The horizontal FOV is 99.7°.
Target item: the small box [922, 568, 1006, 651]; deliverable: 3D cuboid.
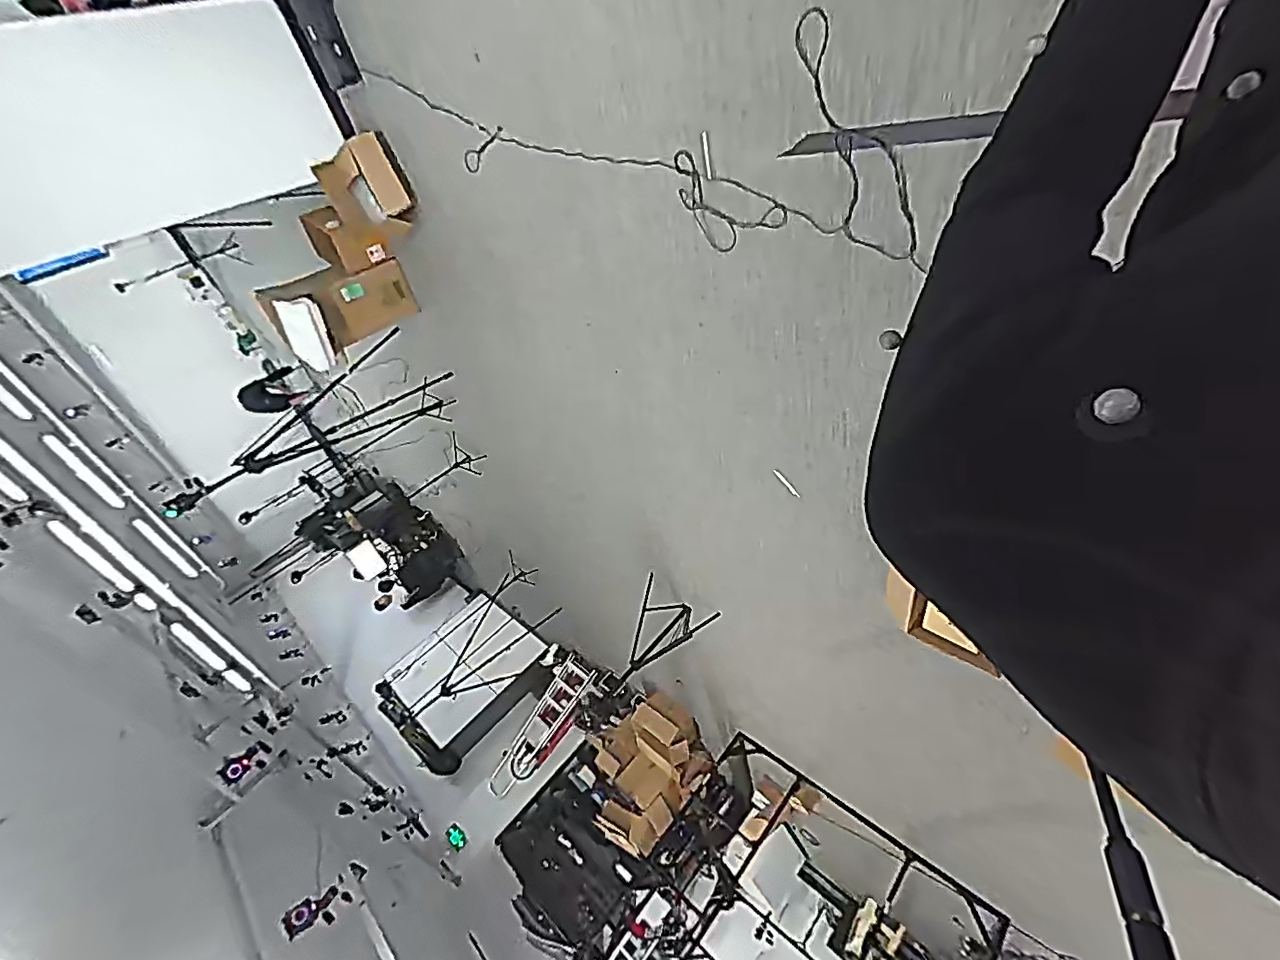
[{"bbox_3d":[1.062,0.416,1.776,0.179,0.176,0.168,25,140,38],"label":"small box"}]
